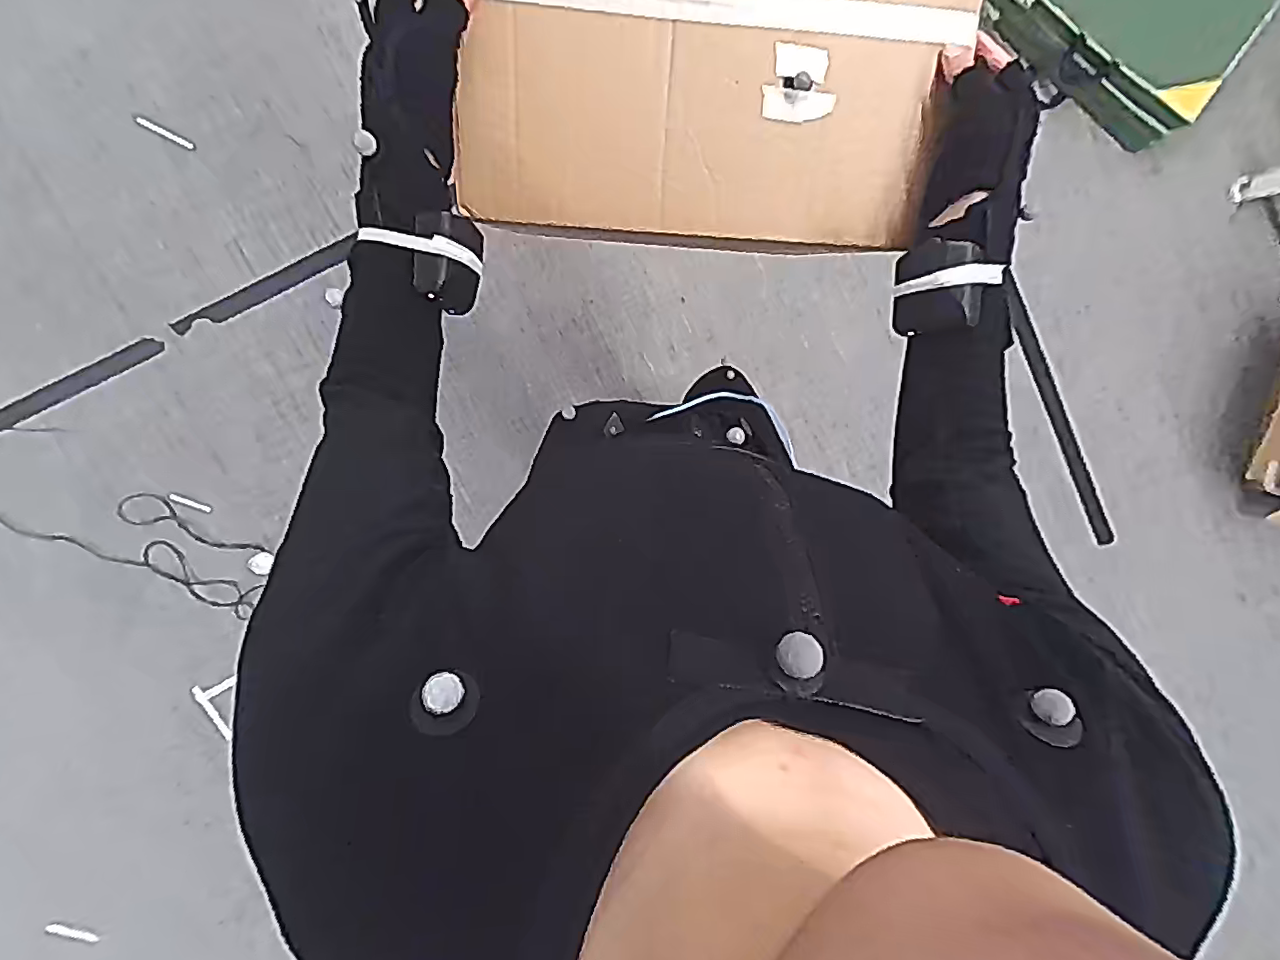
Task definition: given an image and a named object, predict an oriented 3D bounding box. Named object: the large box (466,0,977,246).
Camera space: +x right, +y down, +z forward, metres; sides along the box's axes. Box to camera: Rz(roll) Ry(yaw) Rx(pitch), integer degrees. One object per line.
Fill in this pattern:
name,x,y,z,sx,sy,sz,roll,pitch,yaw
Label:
large box,0.053,-0.420,0.553,0.408,0.320,0.320,2,113,-6
